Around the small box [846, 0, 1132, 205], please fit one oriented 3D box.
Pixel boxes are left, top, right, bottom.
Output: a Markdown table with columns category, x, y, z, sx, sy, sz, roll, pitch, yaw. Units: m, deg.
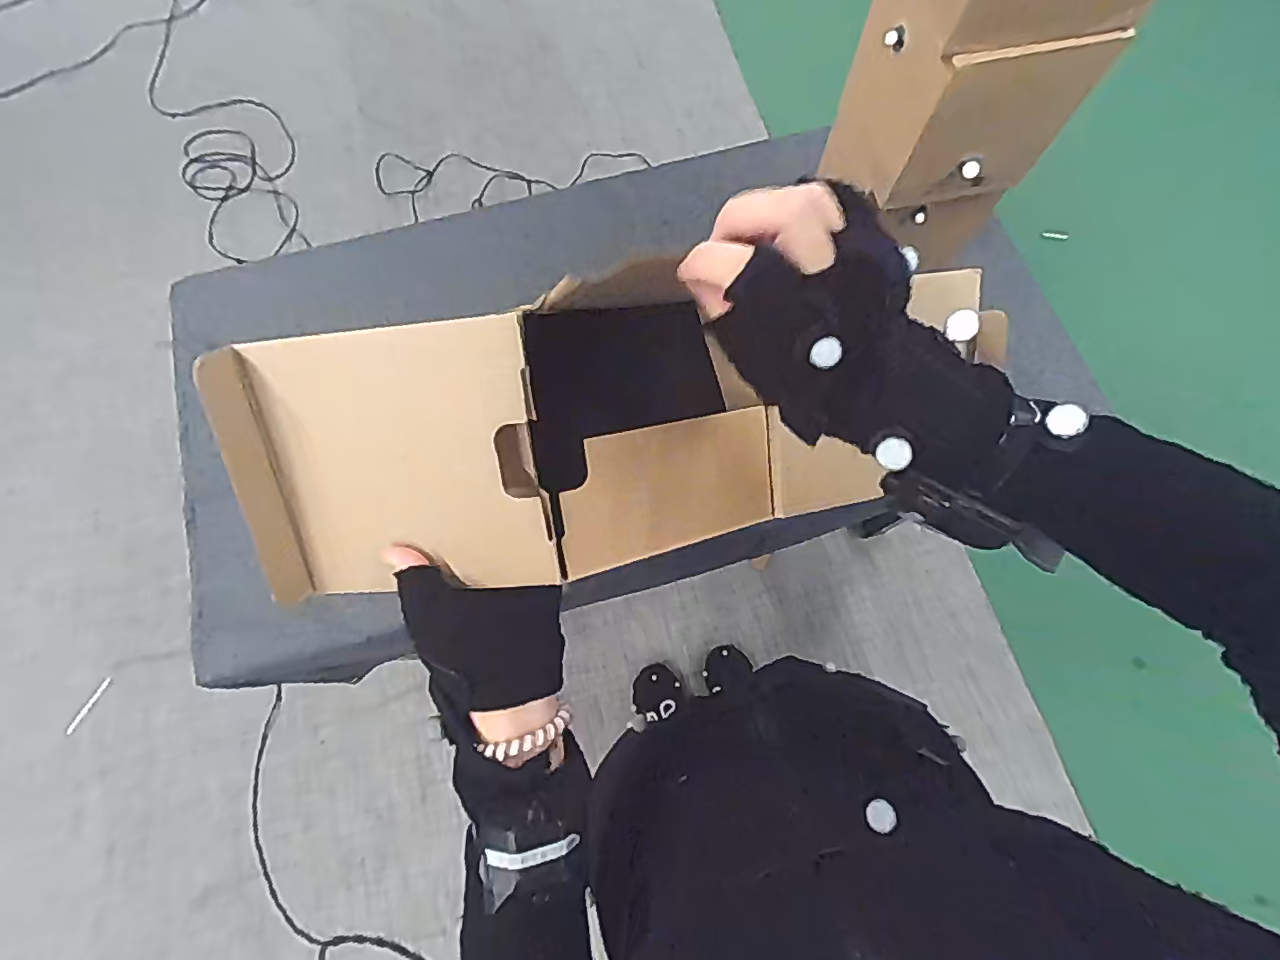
| category | x | y | z | sx | sy | sz | roll | pitch | yaw |
| --- | --- | --- | --- | --- | --- | --- | --- | --- | --- |
| small box | 0.340 | -0.432 | 0.572 | 0.168 | 0.176 | 0.179 | -10 | 74 | 0 |

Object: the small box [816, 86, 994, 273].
| category | x | y | z | sx | sy | sz | roll | pitch | yaw |
| --- | --- | --- | --- | --- | --- | --- | --- | --- | --- |
| small box | 0.350 | -0.402 | 0.734 | 0.179 | 0.176 | 0.168 | -4 | 73 | 1 |

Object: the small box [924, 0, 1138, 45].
| category | x | y | z | sx | sy | sz | roll | pitch | yaw |
| --- | --- | --- | --- | --- | --- | --- | --- | --- | --- |
| small box | 0.330 | -0.481 | 0.417 | 0.179 | 0.176 | 0.168 | -8 | 74 | 0 |
